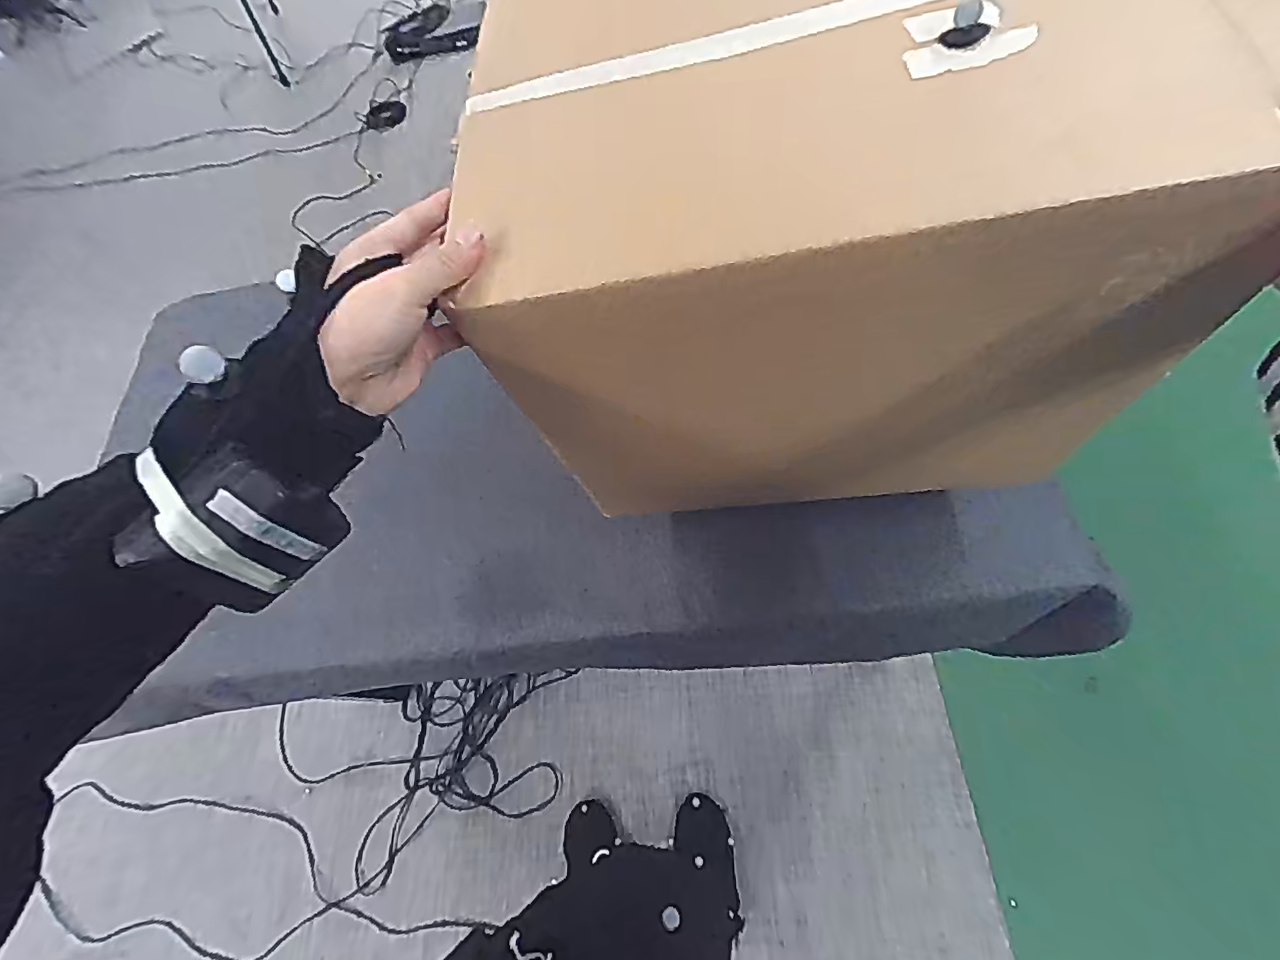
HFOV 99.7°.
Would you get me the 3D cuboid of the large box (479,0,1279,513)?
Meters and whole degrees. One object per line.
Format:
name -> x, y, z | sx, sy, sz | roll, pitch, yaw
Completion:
large box -> 0.132, -0.182, 0.442 | 0.408, 0.320, 0.320 | -5, 66, 10
